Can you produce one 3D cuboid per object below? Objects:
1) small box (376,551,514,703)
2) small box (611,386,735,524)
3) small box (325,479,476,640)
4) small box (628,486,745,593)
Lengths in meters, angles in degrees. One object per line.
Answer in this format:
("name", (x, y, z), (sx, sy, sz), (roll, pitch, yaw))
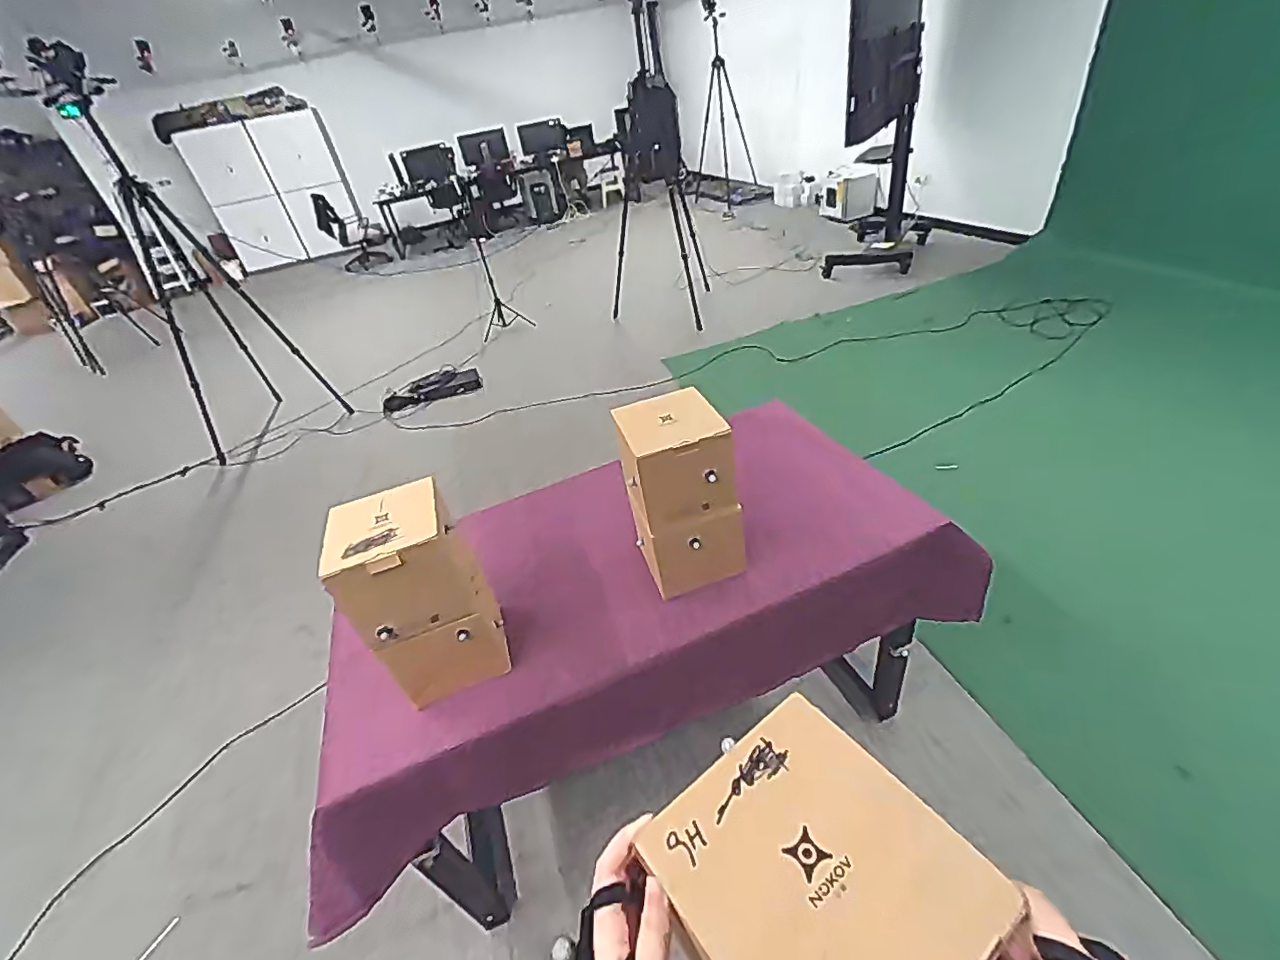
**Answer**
("small box", (-0.344, 0.263, 0.967), (0.179, 0.176, 0.168), (-20, 37, -10))
("small box", (0.061, -0.040, 0.967), (0.168, 0.176, 0.179), (-18, 36, -7))
("small box", (-0.376, 0.132, 0.873), (0.168, 0.176, 0.179), (-20, 36, -11))
("small box", (0.093, 0.093, 1.057), (0.179, 0.176, 0.168), (-18, 37, -7))
